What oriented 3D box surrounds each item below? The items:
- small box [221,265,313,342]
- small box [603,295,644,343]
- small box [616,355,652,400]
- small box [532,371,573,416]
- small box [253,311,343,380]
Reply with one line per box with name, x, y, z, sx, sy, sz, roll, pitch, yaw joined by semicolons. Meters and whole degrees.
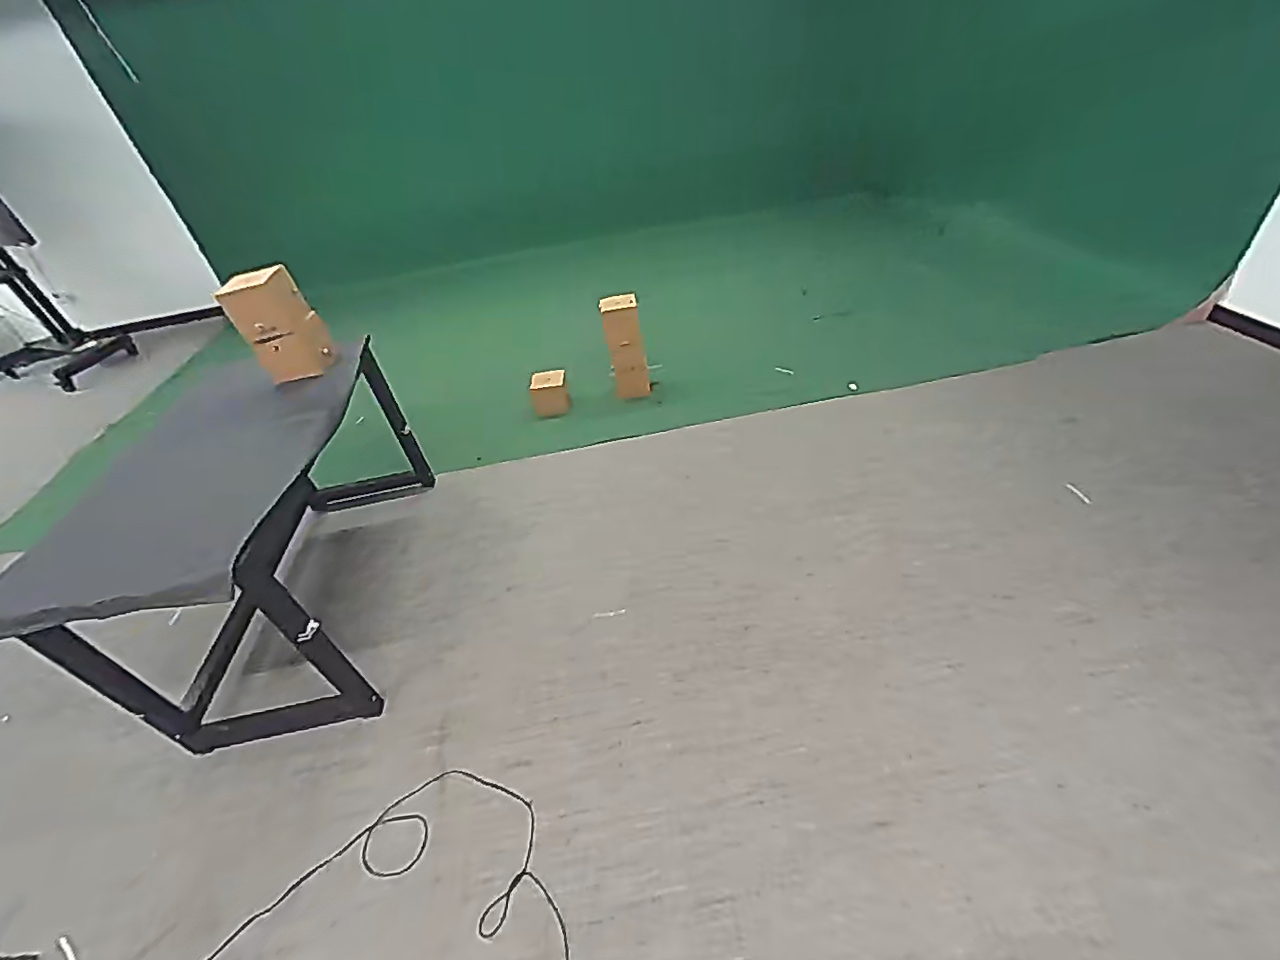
small box;-1.219;-0.582;1.786;0.168;0.176;0.179;-15;42;-1
small box;-0.084;-0.797;2.692;0.179;0.176;0.168;-10;39;2
small box;-0.029;-0.549;2.901;0.179;0.176;0.168;-9;40;2
small box;-0.462;-0.462;2.885;0.179;0.176;0.168;-7;40;4
small box;-1.193;-0.468;1.899;0.179;0.176;0.168;-9;41;4
